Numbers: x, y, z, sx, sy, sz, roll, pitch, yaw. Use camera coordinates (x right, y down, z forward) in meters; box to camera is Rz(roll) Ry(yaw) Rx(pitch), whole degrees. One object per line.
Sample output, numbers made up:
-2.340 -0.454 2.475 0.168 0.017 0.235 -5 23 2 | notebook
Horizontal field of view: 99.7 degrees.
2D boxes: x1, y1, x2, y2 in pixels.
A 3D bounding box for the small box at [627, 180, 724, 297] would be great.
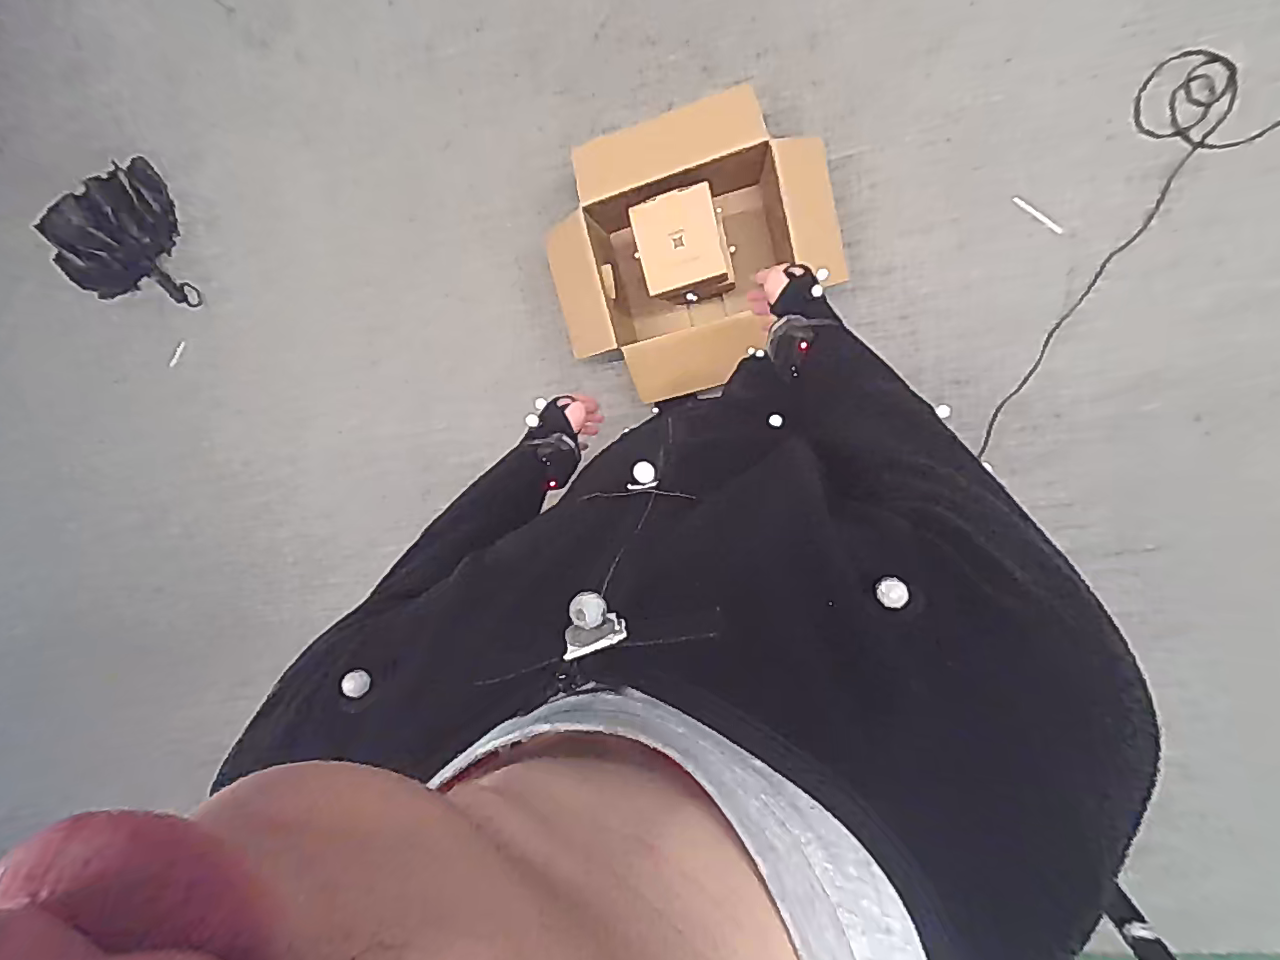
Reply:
0.082 -0.503 1.155 0.168 0.176 0.179 -13 103 13 | small box
